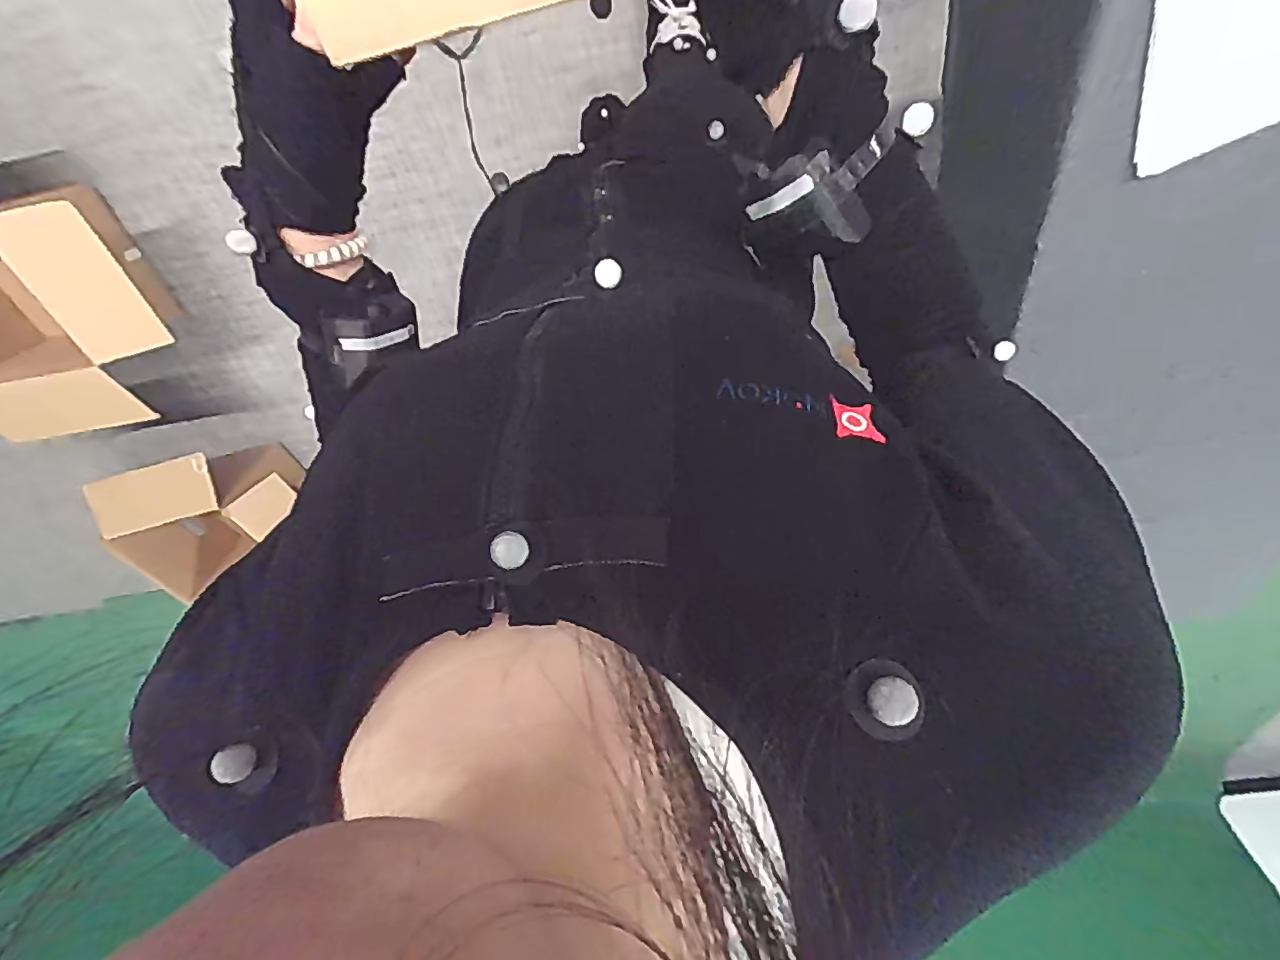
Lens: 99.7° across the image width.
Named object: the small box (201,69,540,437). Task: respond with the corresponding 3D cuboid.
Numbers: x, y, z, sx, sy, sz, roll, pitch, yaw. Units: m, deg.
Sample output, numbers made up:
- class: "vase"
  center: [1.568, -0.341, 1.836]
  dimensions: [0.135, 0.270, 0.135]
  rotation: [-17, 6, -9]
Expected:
- class: "small box"
  center: [-0.200, -0.140, 0.395]
  dimensions: [0.168, 0.176, 0.179]
  rotation: [5, 100, -46]
